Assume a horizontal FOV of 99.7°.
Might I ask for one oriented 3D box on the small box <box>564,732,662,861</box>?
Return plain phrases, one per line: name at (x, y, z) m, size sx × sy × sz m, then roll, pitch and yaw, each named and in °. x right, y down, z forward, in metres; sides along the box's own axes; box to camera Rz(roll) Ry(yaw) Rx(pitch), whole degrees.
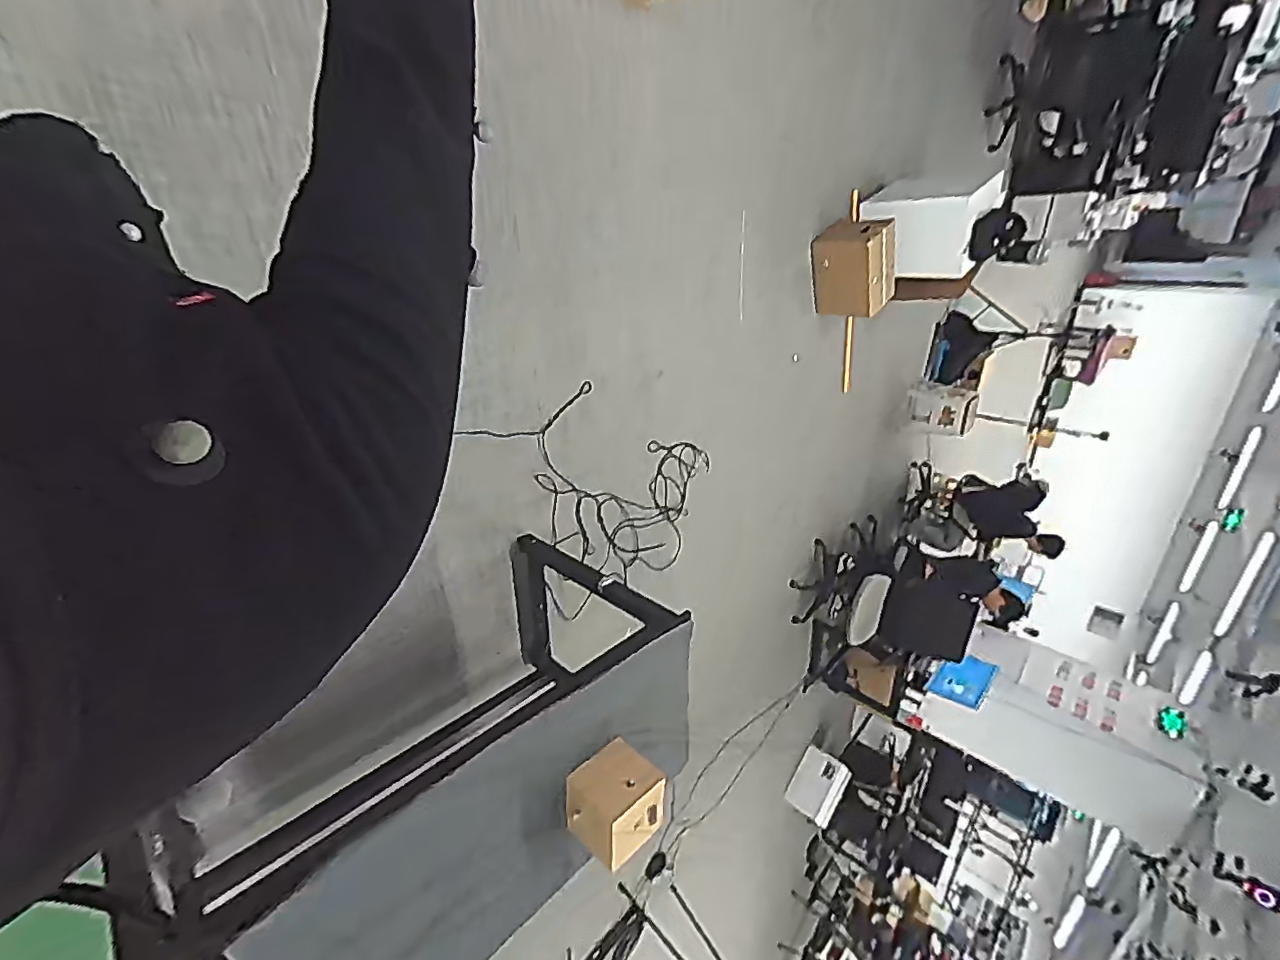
small box at (-0.068, 0.762, 1.325) m, size 0.179 × 0.176 × 0.168 m, roll -19°, pitch 119°, yaw -43°
